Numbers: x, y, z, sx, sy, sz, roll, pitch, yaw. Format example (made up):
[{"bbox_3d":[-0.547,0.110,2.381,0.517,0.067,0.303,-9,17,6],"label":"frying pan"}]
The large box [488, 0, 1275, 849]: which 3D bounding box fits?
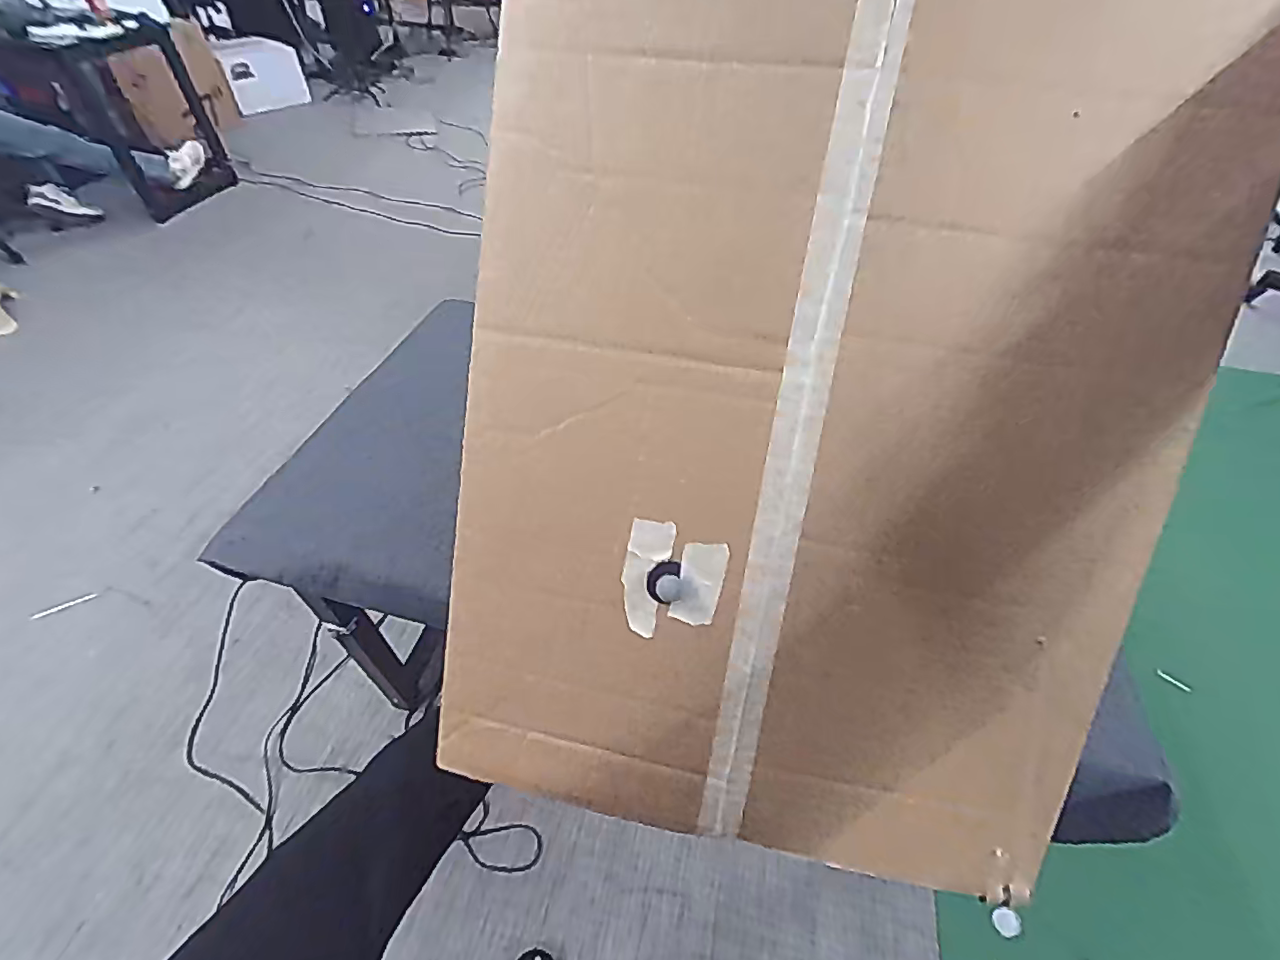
[{"bbox_3d":[0.098,-0.040,0.413,0.320,0.408,0.320,9,13,6],"label":"large box"}]
